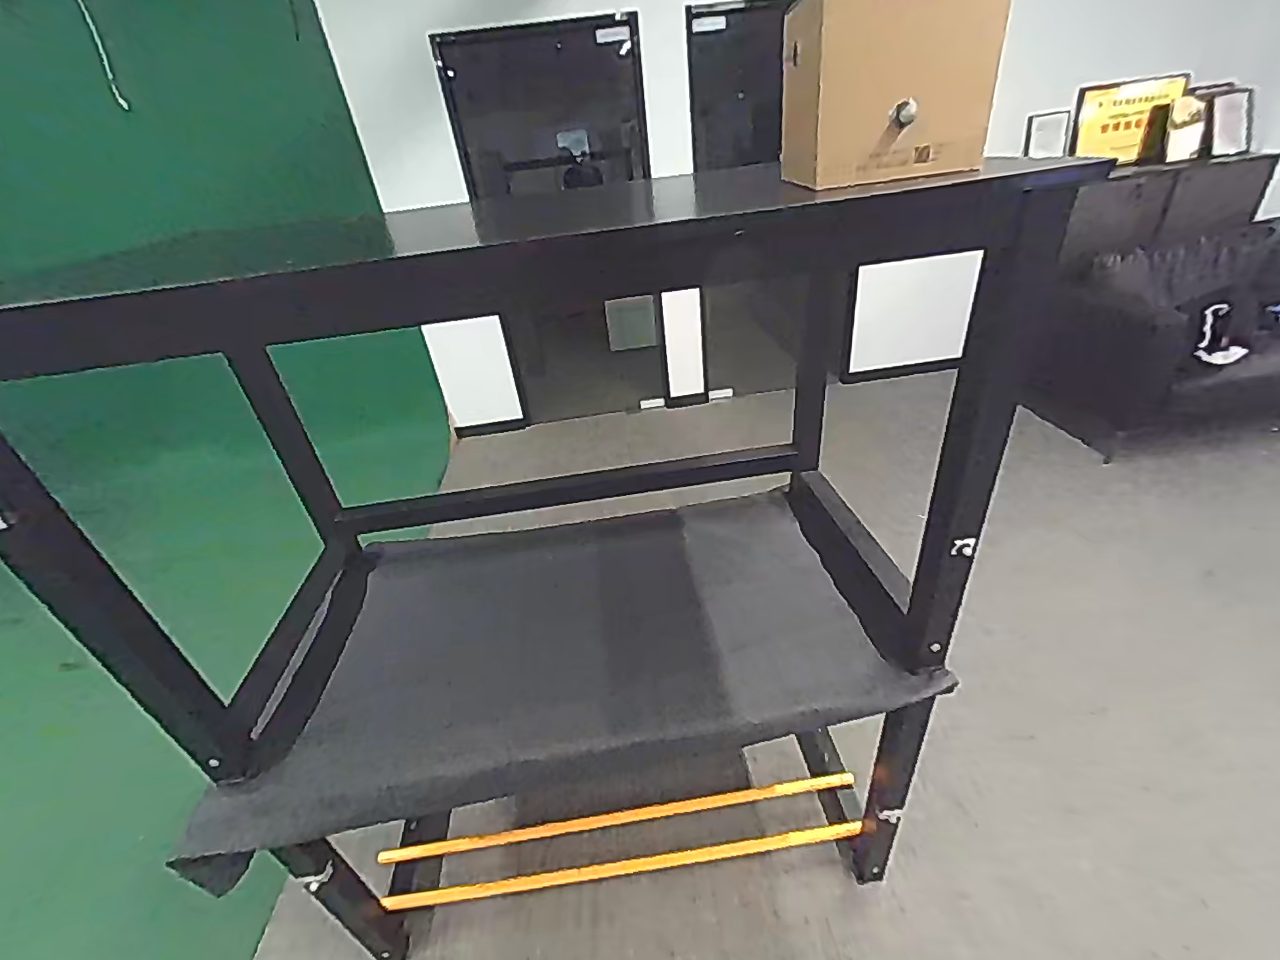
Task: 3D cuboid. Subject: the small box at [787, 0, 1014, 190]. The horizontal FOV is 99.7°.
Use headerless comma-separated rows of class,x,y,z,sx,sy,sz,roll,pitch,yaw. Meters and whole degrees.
small box,0.256,-0.415,0.579,0.168,0.176,0.179,-5,32,5
